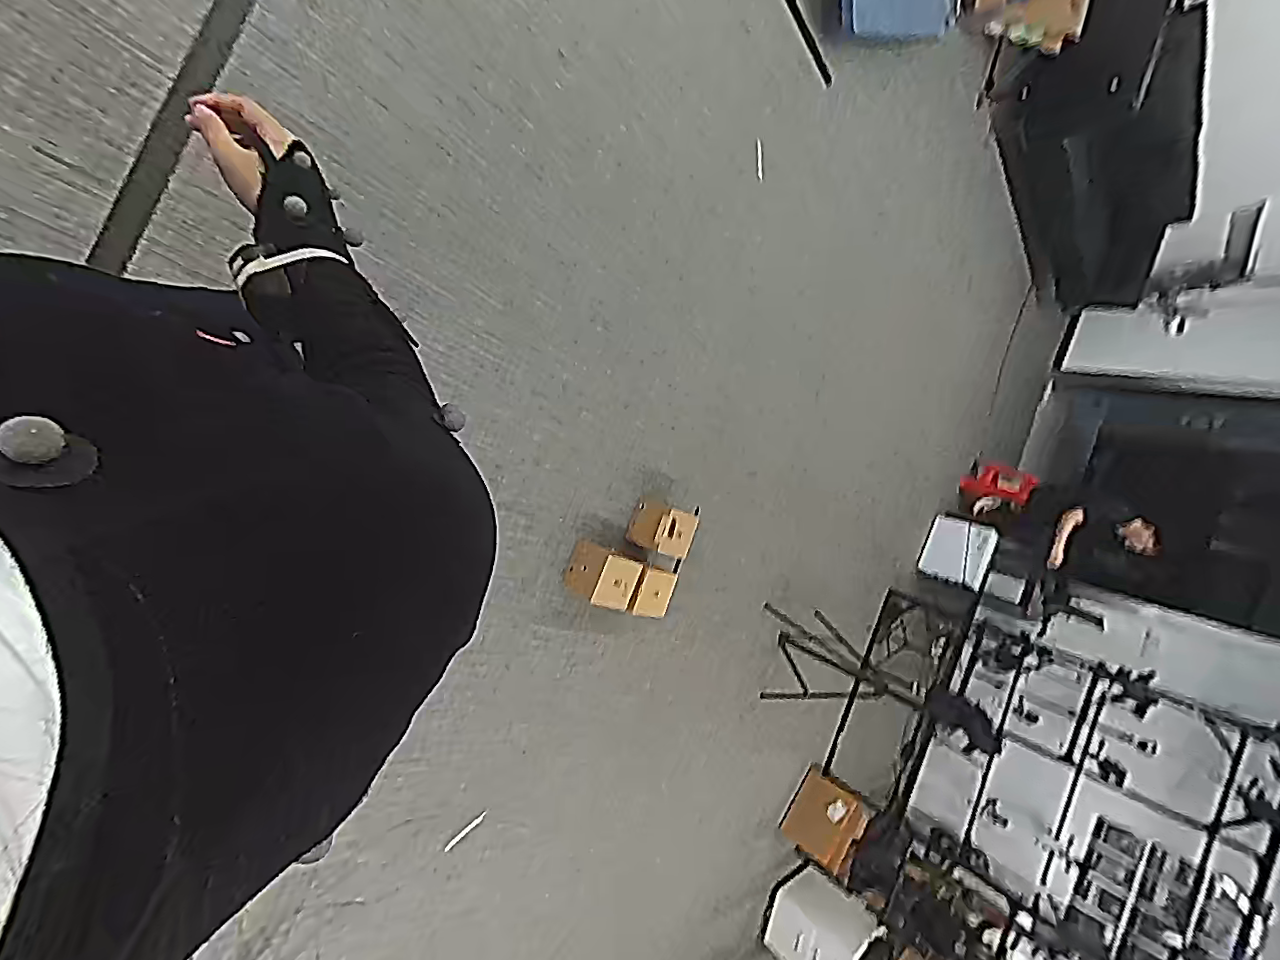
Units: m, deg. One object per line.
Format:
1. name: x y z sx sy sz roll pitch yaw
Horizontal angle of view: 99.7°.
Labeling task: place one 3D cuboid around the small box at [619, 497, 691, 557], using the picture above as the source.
1. small box: 0.052 0.172 2.009 0.179 0.176 0.168 22 87 -47
